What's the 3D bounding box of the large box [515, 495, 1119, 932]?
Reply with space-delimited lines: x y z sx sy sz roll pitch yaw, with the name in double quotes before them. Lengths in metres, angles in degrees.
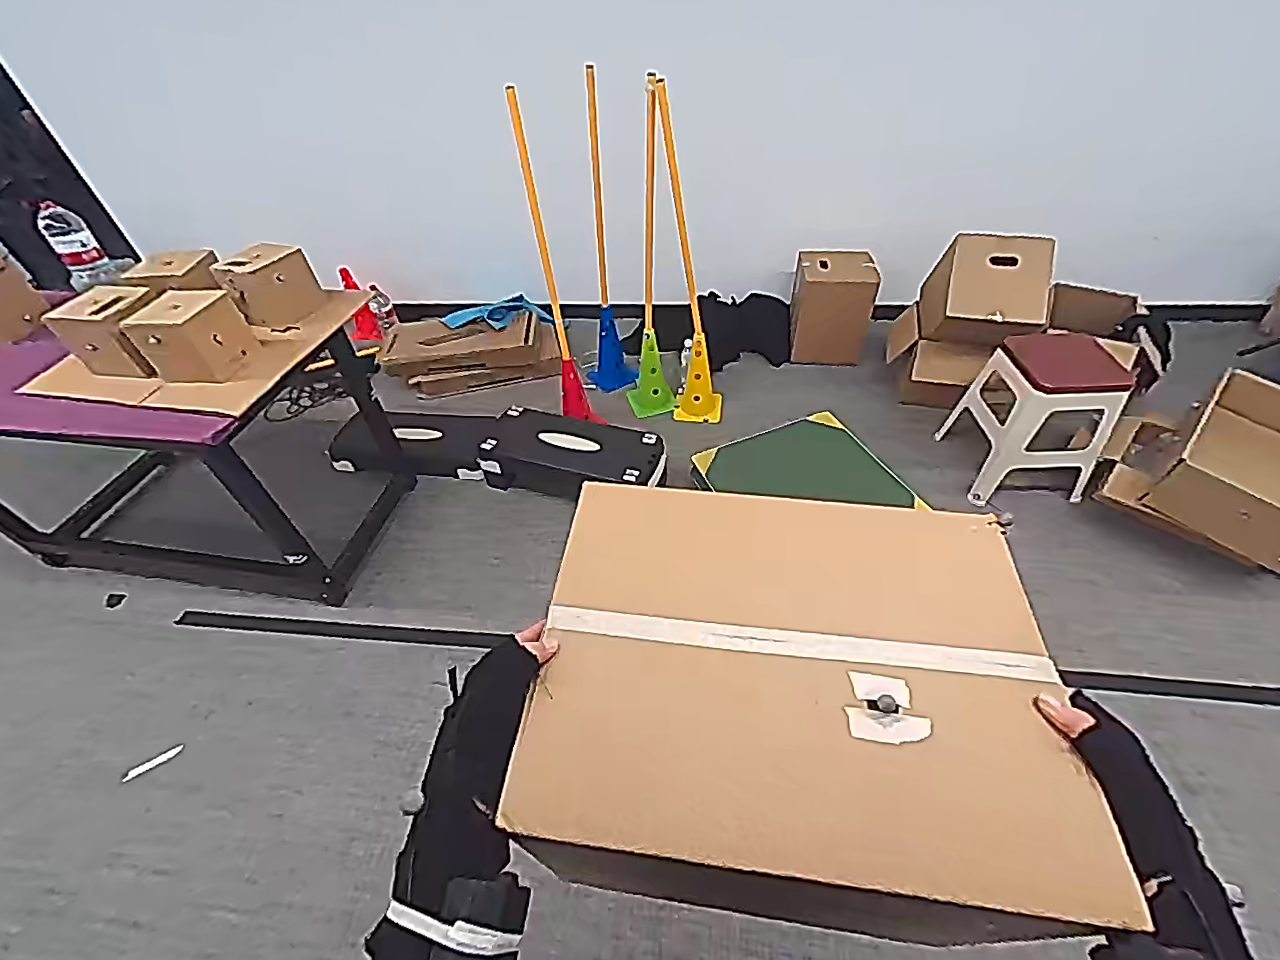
"large box" 0.126 0.241 0.565 0.408 0.320 0.320 5 49 6
